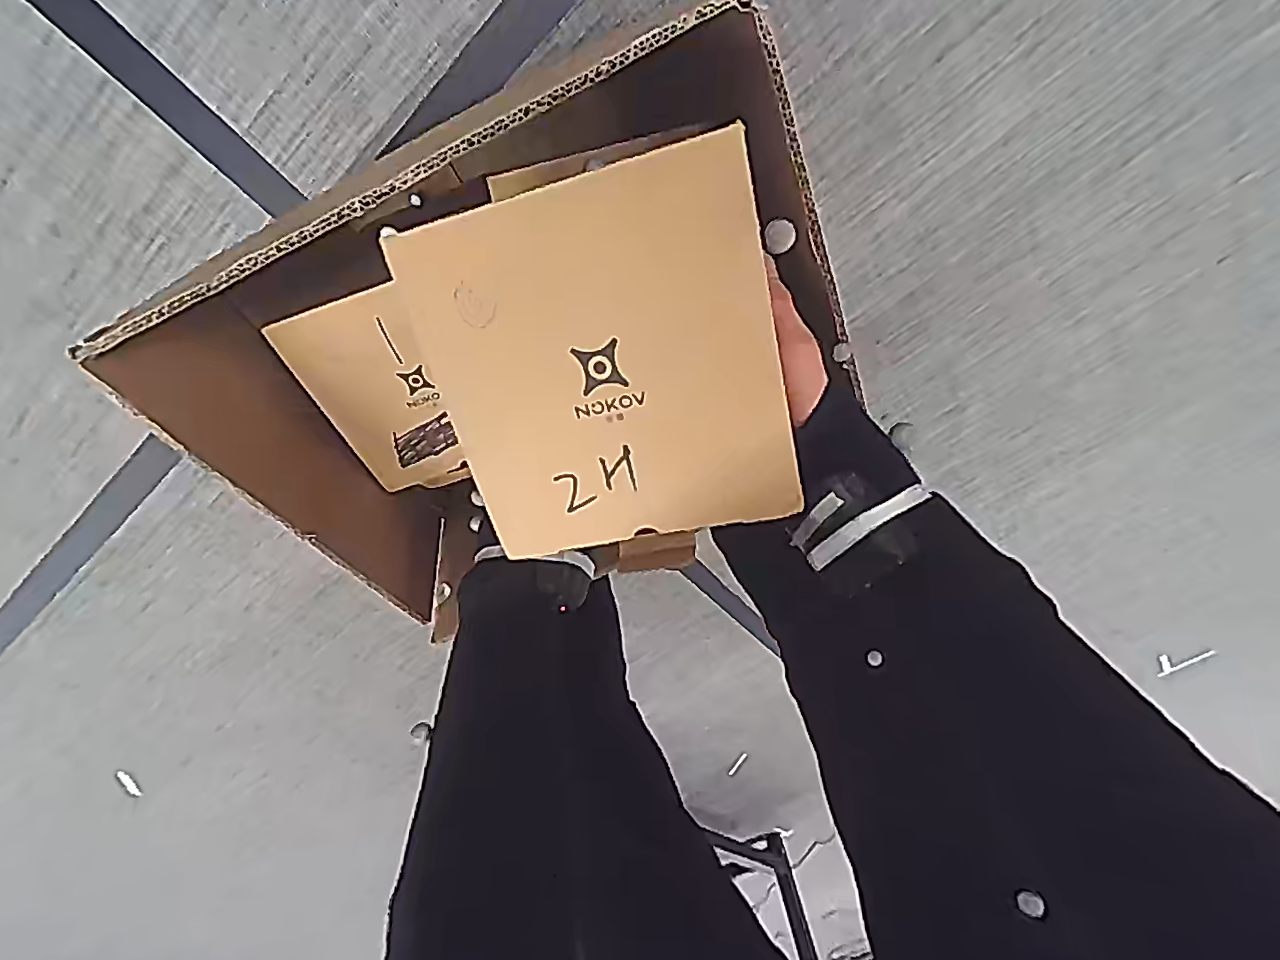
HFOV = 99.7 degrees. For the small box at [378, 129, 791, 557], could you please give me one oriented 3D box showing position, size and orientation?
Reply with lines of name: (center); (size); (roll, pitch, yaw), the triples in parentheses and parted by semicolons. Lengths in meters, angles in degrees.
small box: (-0.012, -0.080, 0.331); (0.168, 0.176, 0.179); (-11, 114, 14)
